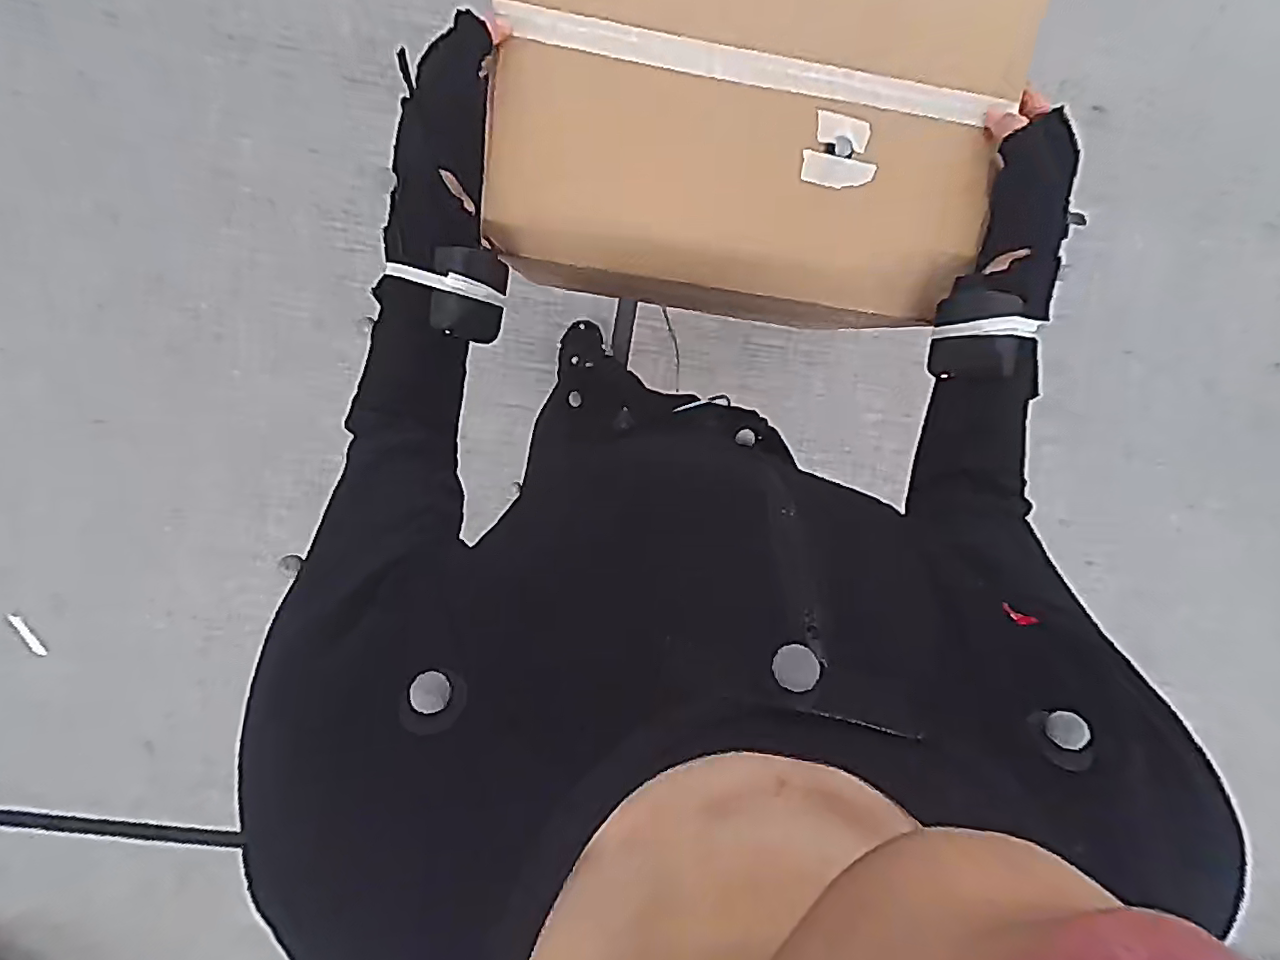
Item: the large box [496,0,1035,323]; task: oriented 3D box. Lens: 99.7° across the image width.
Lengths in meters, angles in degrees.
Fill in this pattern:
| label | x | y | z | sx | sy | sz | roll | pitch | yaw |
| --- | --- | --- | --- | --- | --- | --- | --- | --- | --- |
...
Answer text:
| label | x | y | z | sx | sy | sz | roll | pitch | yaw |
| --- | --- | --- | --- | --- | --- | --- | --- | --- | --- |
| large box | 0.084 | -0.348 | 0.560 | 0.408 | 0.320 | 0.320 | 7 | 105 | -7 |
